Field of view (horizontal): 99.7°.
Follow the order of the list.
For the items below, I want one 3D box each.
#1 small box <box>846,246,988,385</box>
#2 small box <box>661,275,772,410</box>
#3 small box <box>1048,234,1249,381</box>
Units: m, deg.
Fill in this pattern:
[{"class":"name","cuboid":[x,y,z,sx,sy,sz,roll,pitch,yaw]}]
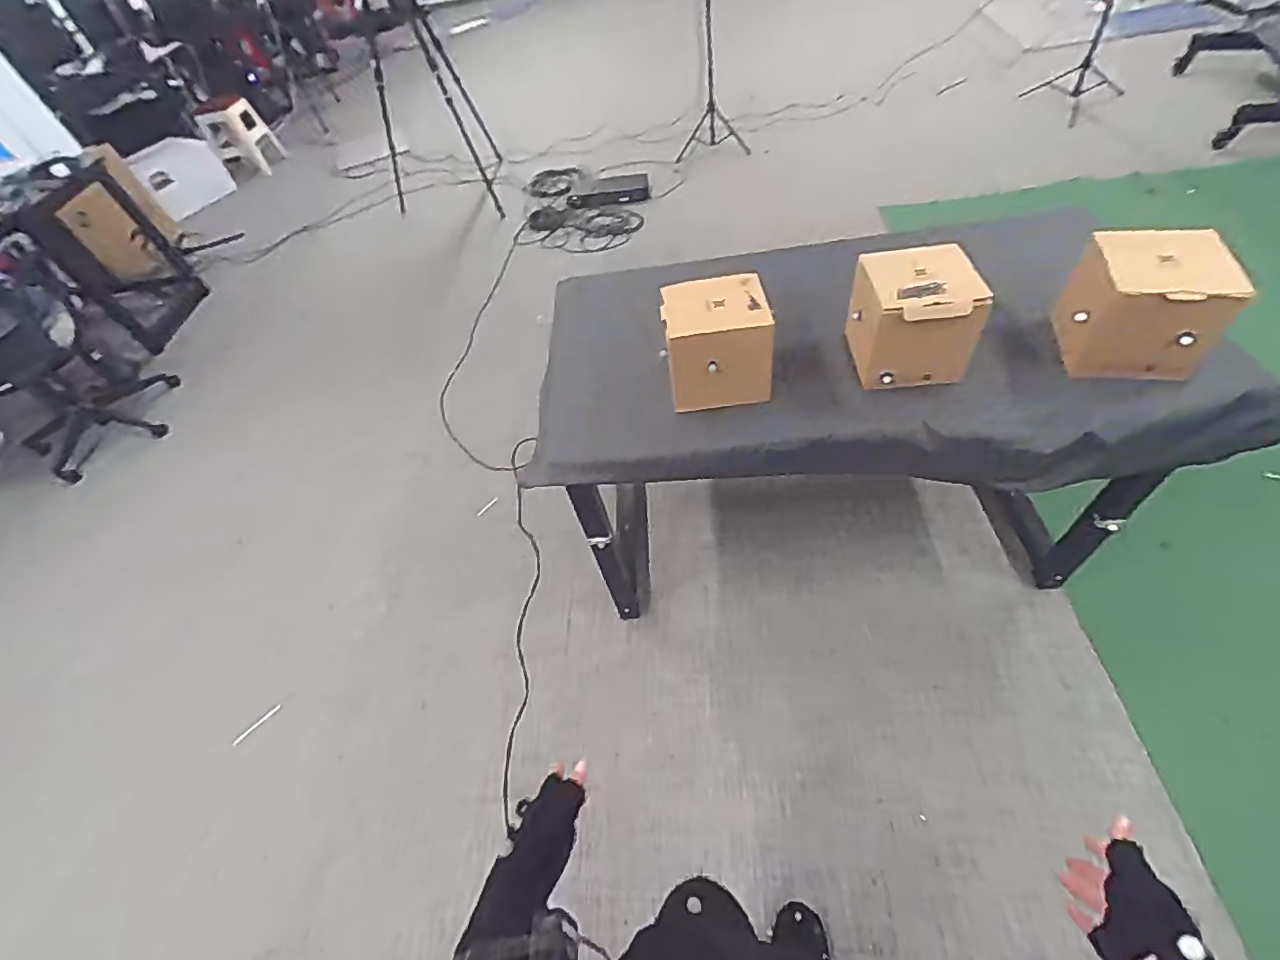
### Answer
[{"class":"small box","cuboid":[0.475,-0.283,0.957,0.168,0.176,0.179,-3,51,8]},{"class":"small box","cuboid":[0.138,-0.245,0.988,0.179,0.176,0.168,-7,50,5]},{"class":"small box","cuboid":[0.816,-0.282,0.894,0.168,0.176,0.179,6,52,14]}]
